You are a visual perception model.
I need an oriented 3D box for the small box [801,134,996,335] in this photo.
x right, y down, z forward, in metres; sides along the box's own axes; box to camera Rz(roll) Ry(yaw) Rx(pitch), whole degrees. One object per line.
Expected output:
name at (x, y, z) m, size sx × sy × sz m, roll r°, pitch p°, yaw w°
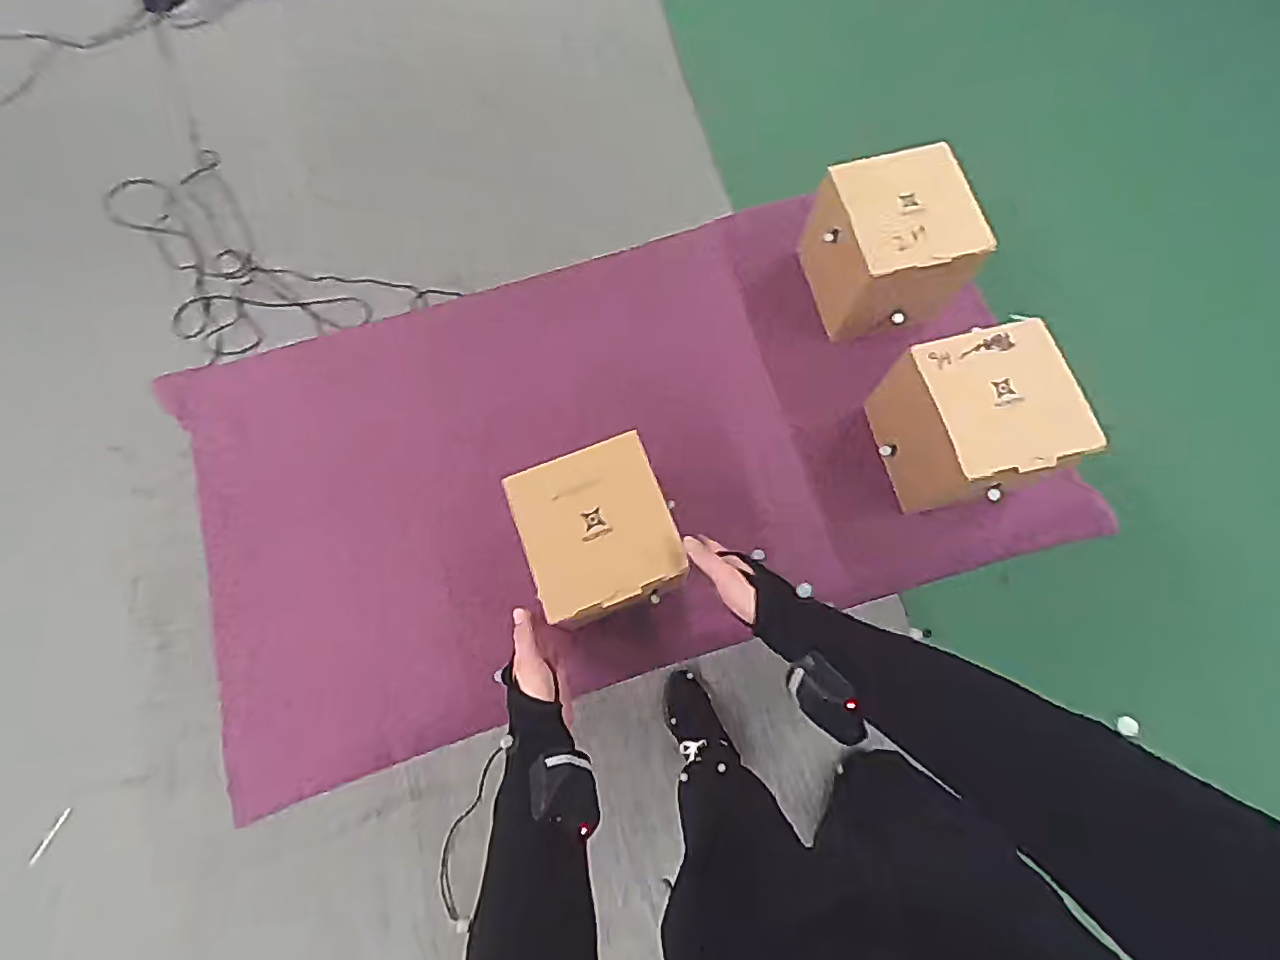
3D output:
small box at (0.344, -0.334, 0.761) m, size 0.168 × 0.176 × 0.179 m, roll -13°, pitch 76°, yaw 0°

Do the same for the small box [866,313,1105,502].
small box at (0.418, -0.078, 0.690) m, size 0.168 × 0.176 × 0.179 m, roll -13°, pitch 74°, yaw -1°

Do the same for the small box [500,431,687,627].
small box at (-0.048, 0.069, 0.671) m, size 0.168 × 0.176 × 0.179 m, roll -22°, pitch 75°, yaw -3°
